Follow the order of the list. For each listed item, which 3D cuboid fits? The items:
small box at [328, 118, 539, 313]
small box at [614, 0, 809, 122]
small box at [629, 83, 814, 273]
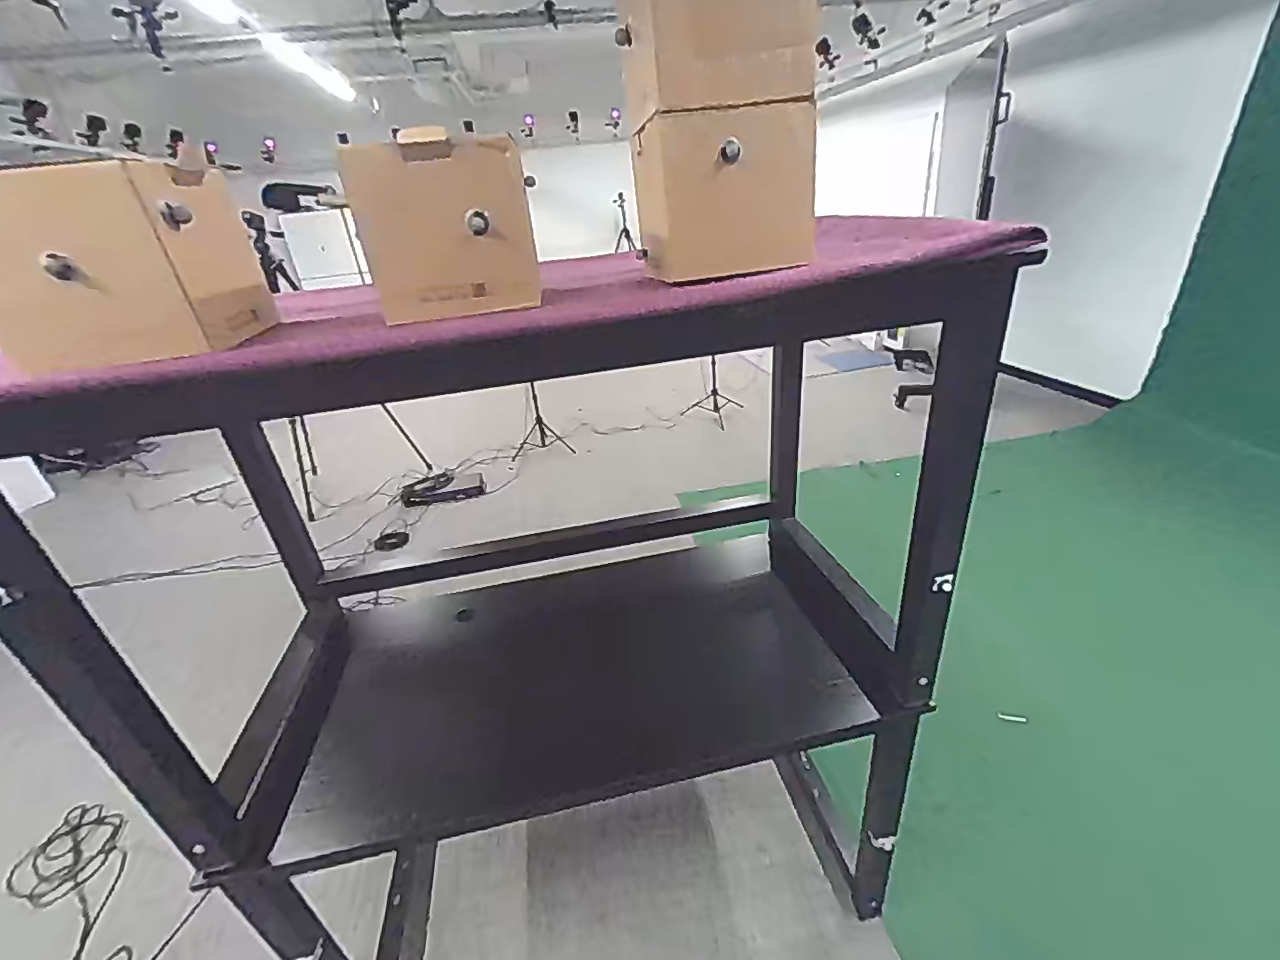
[{"bbox_3d":[-0.210,-0.288,0.608,0.168,0.176,0.179,-8,27,-6],"label":"small box"},{"bbox_3d":[0.073,-0.497,0.587,0.179,0.176,0.168,-10,25,-7],"label":"small box"},{"bbox_3d":[0.094,-0.349,0.652,0.179,0.176,0.168,-10,25,-7],"label":"small box"}]
